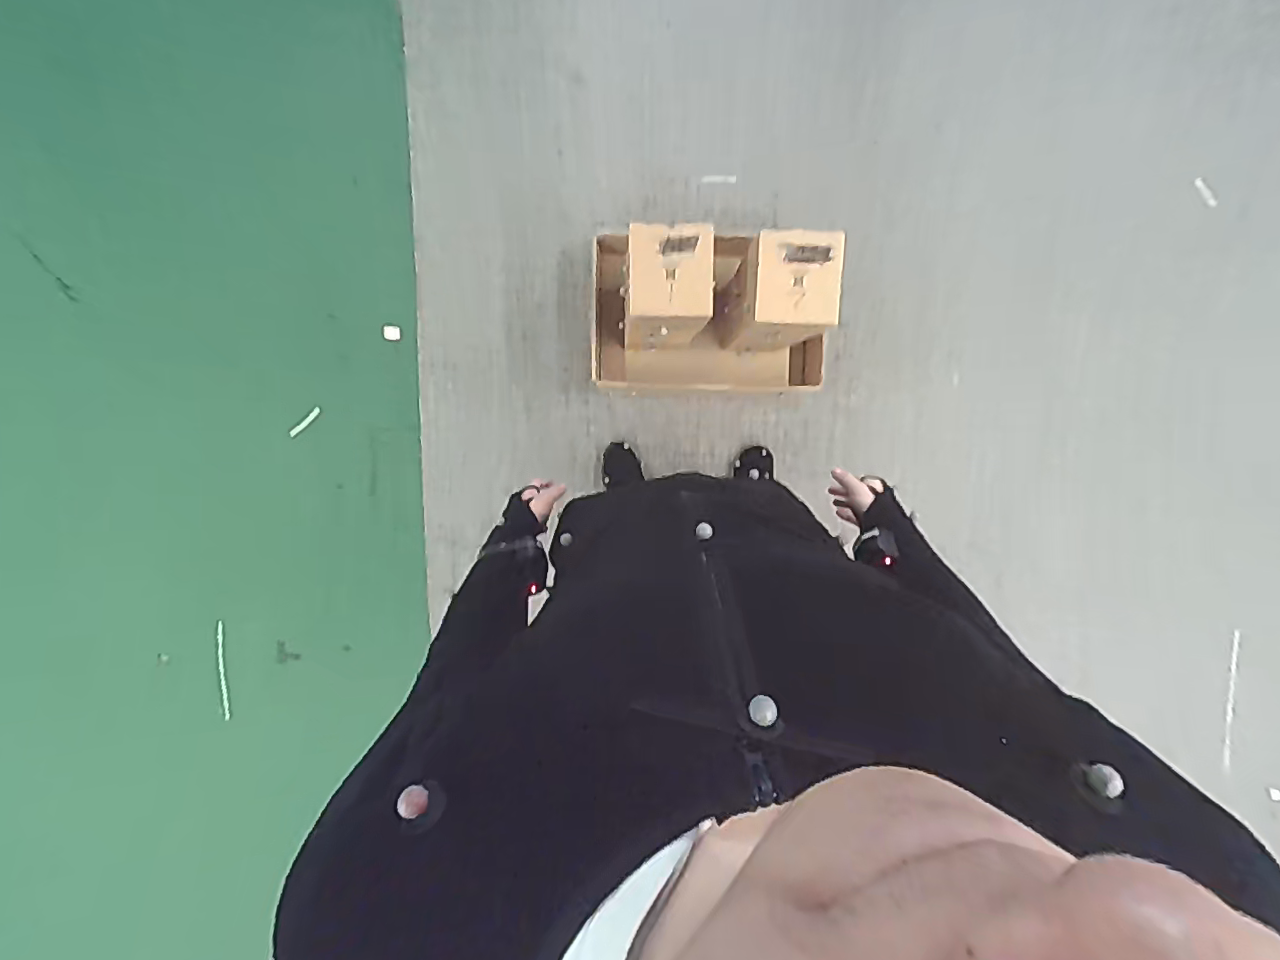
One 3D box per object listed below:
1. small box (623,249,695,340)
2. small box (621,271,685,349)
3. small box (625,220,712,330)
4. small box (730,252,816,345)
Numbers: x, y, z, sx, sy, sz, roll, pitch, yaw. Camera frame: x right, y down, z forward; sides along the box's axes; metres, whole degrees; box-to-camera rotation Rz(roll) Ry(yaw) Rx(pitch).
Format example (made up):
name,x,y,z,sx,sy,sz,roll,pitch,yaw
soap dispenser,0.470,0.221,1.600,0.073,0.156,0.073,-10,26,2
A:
name,x,y,z,sx,sy,sz,roll,pitch,yaw
small box,0.045,-0.431,1.278,0.168,0.176,0.179,-1,95,-1
small box,0.036,-0.446,1.438,0.168,0.176,0.179,1,95,-2
small box,0.053,-0.415,1.115,0.168,0.176,0.179,0,96,-1
small box,0.308,-0.424,1.284,0.168,0.176,0.179,1,95,1
